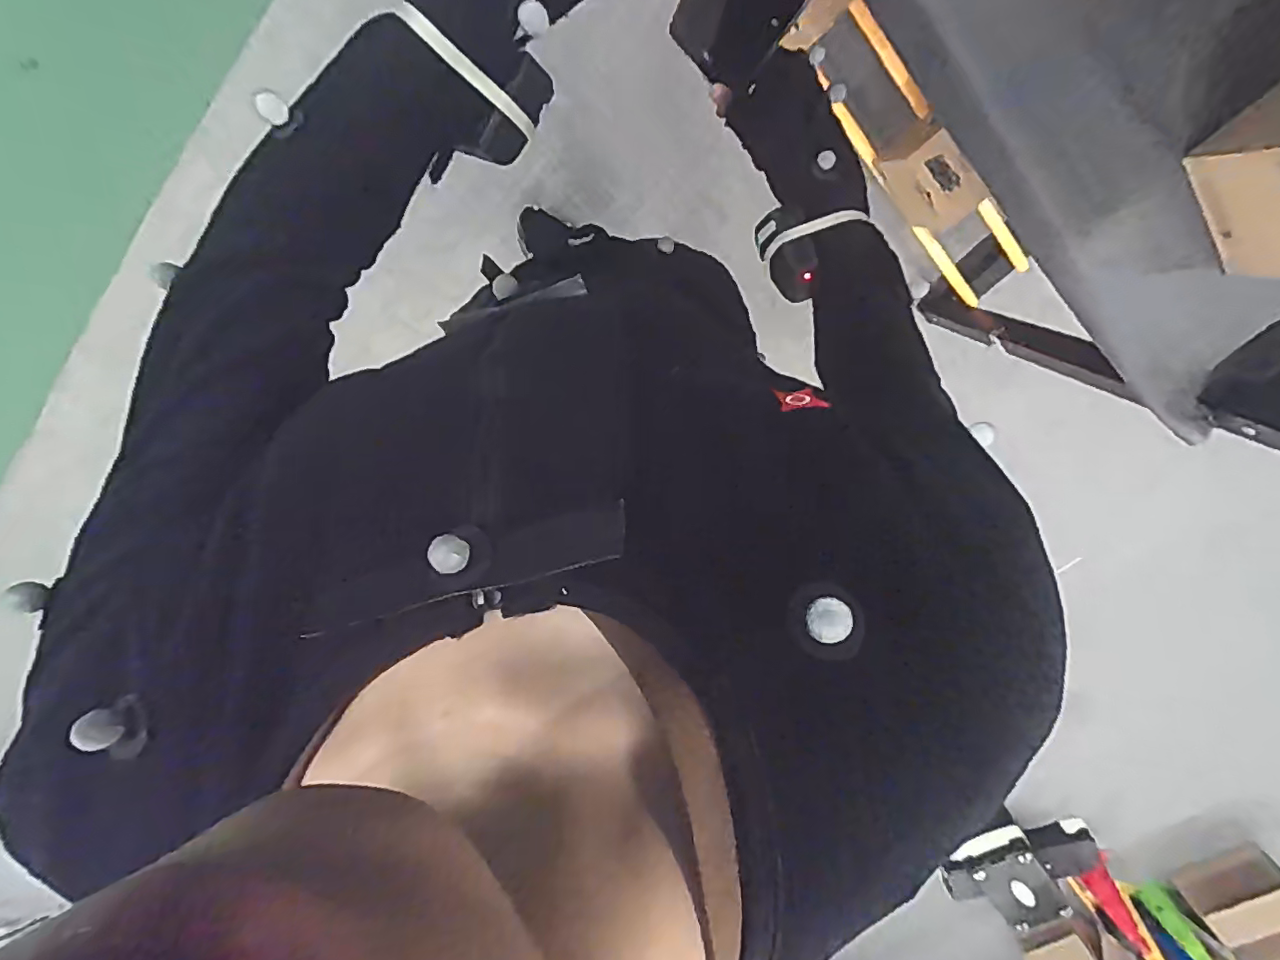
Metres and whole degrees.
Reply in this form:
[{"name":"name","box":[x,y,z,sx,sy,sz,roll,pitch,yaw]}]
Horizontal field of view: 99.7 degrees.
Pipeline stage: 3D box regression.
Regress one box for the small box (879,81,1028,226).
[{"name":"small box","box":[0.605,-0.633,1.071,0.179,0.176,0.168,-39,112,17]}]
